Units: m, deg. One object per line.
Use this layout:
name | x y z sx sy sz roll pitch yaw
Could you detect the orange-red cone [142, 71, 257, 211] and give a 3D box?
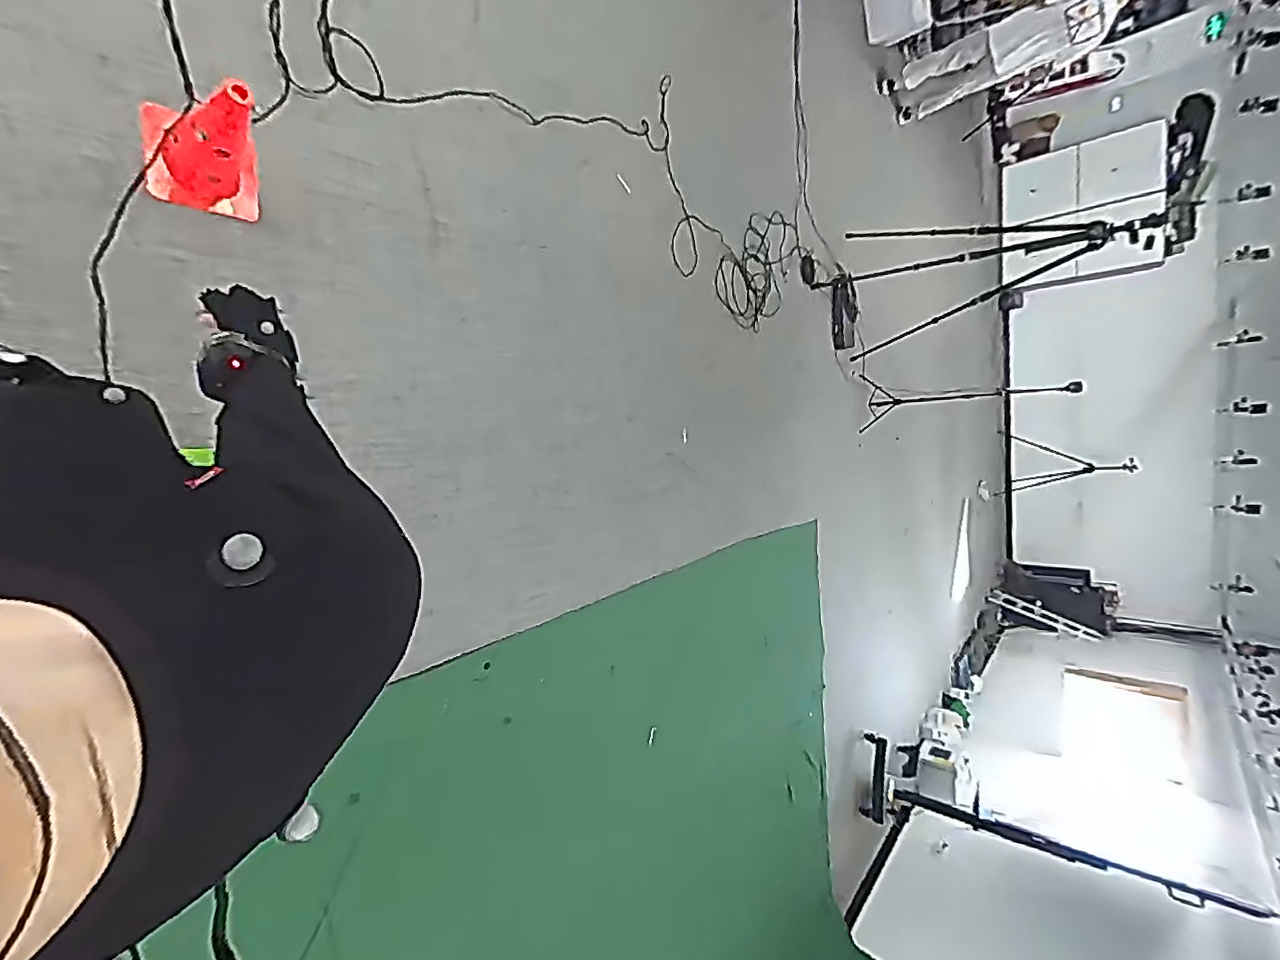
orange-red cone | -0.850 -0.716 1.087 0.198 0.360 0.199 -3 95 -47
